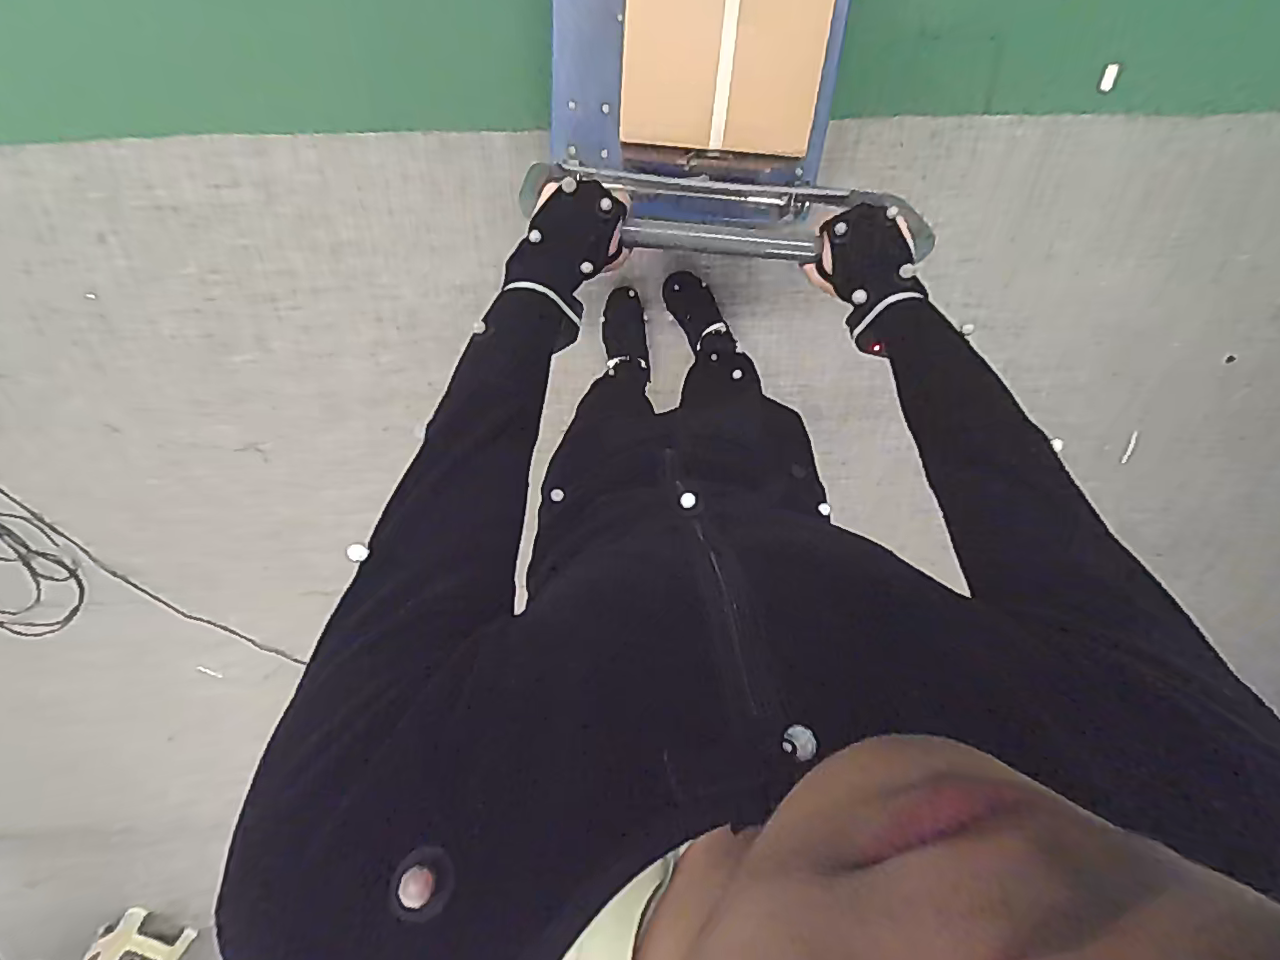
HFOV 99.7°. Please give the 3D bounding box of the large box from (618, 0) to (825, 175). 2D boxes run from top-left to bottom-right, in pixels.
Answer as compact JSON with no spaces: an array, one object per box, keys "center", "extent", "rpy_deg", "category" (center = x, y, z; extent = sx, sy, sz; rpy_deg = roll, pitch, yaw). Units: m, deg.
[{"center":[0.128,-0.786,0.956],"extent":[0.320,0.320,0.408],"rpy_deg":[3,115,-3],"category":"large box"}]
